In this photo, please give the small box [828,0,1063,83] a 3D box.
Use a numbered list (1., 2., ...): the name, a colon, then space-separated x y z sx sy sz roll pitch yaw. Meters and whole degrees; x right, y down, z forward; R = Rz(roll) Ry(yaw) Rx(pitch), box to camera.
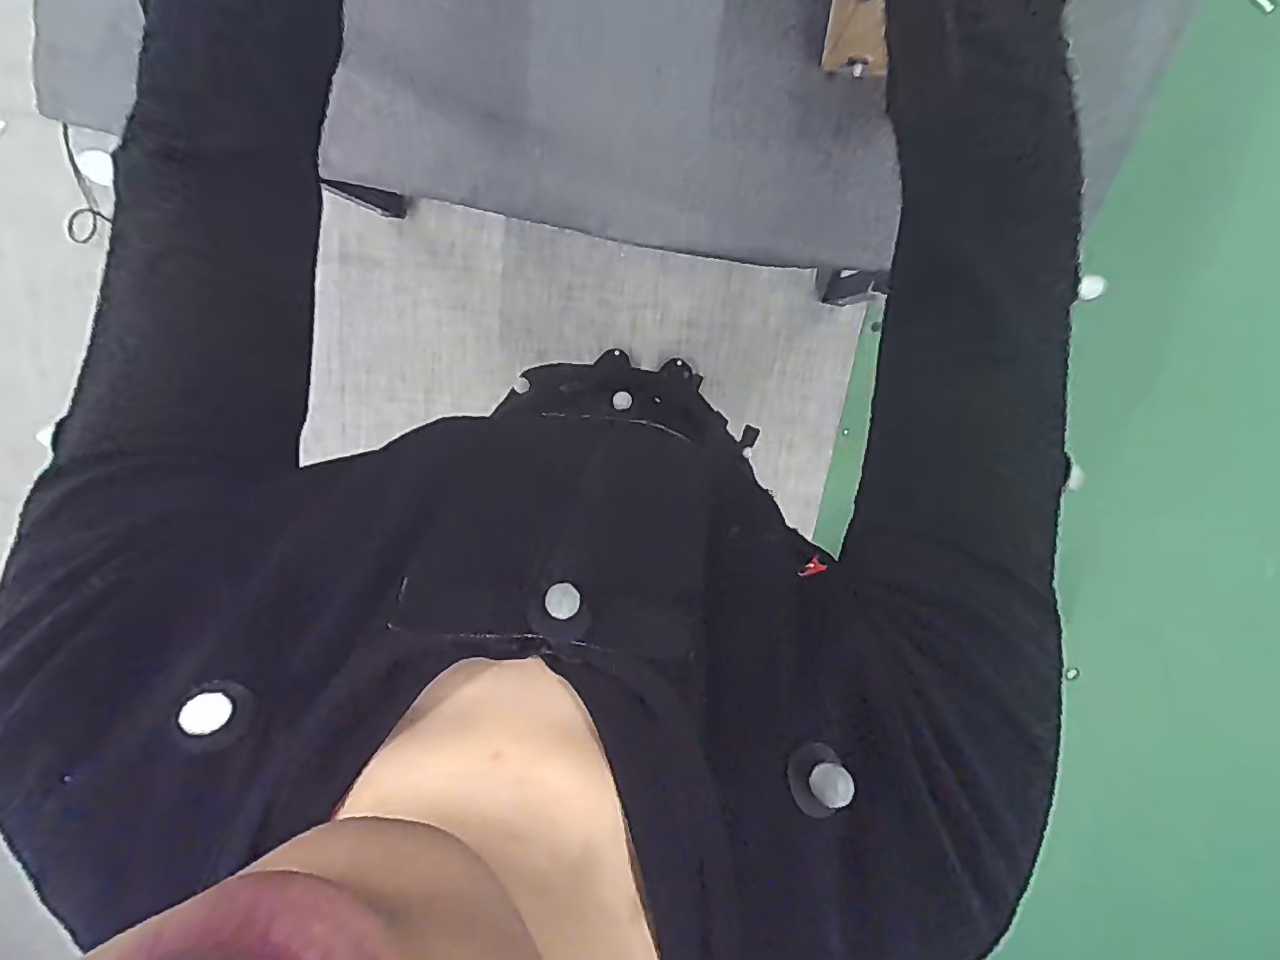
1. small box: 0.288 -0.507 0.502 0.168 0.176 0.179 7 104 1
